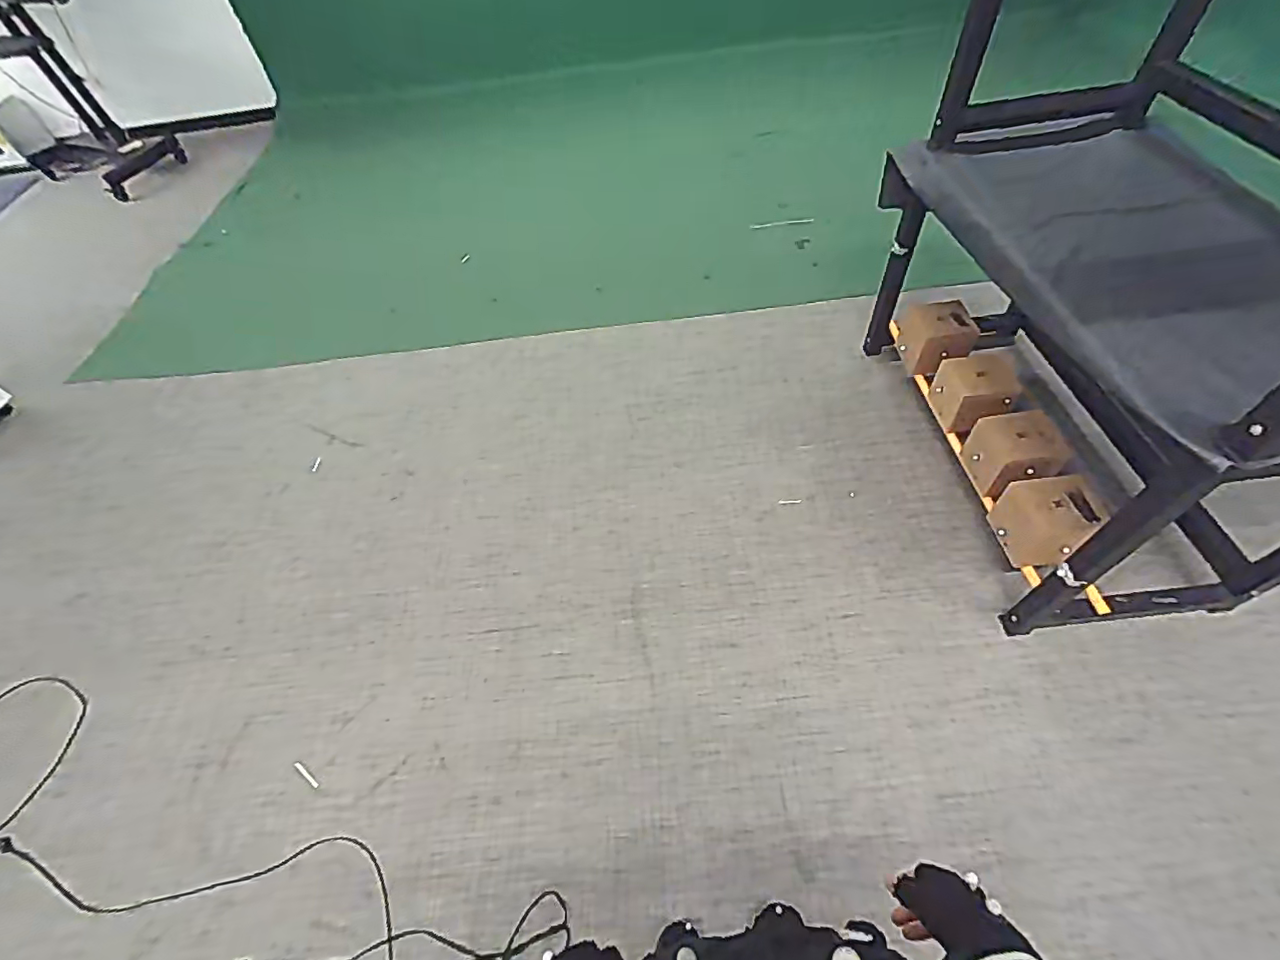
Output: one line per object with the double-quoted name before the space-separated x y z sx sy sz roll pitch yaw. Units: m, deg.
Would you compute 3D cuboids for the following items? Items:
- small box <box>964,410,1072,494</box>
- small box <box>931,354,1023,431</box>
"small box" 1.057 -0.074 1.536 0.179 0.176 0.168 -7 53 2
"small box" 1.034 -0.268 1.685 0.179 0.176 0.168 -6 54 3
